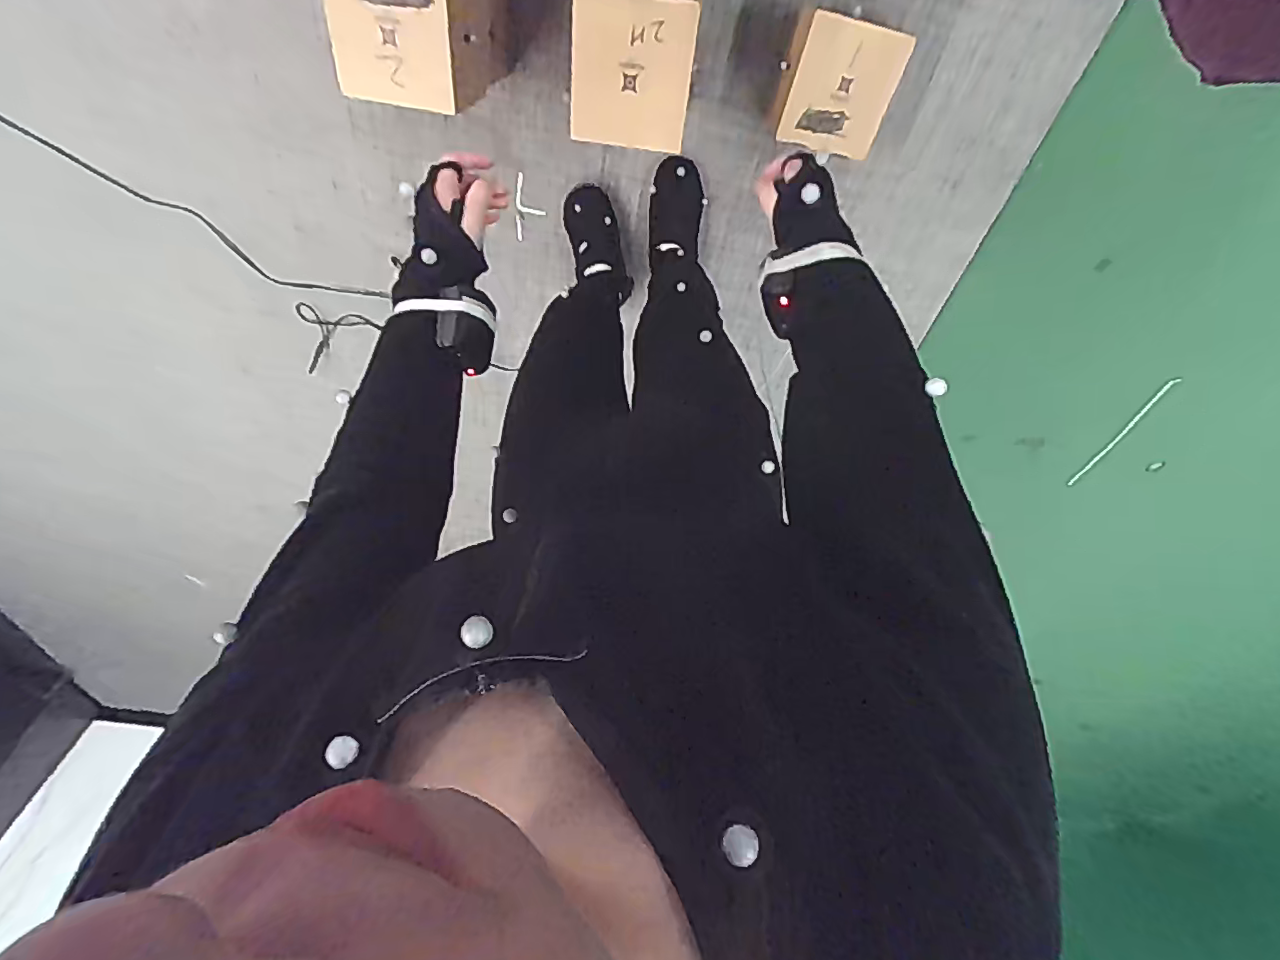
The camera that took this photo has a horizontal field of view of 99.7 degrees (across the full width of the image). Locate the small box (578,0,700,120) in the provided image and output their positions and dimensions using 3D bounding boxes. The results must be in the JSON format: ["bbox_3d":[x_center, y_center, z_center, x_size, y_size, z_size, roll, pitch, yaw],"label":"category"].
[{"bbox_3d":[-0.001,-0.735,0.916,0.179,0.176,0.168,9,134,-3],"label":"small box"}]
